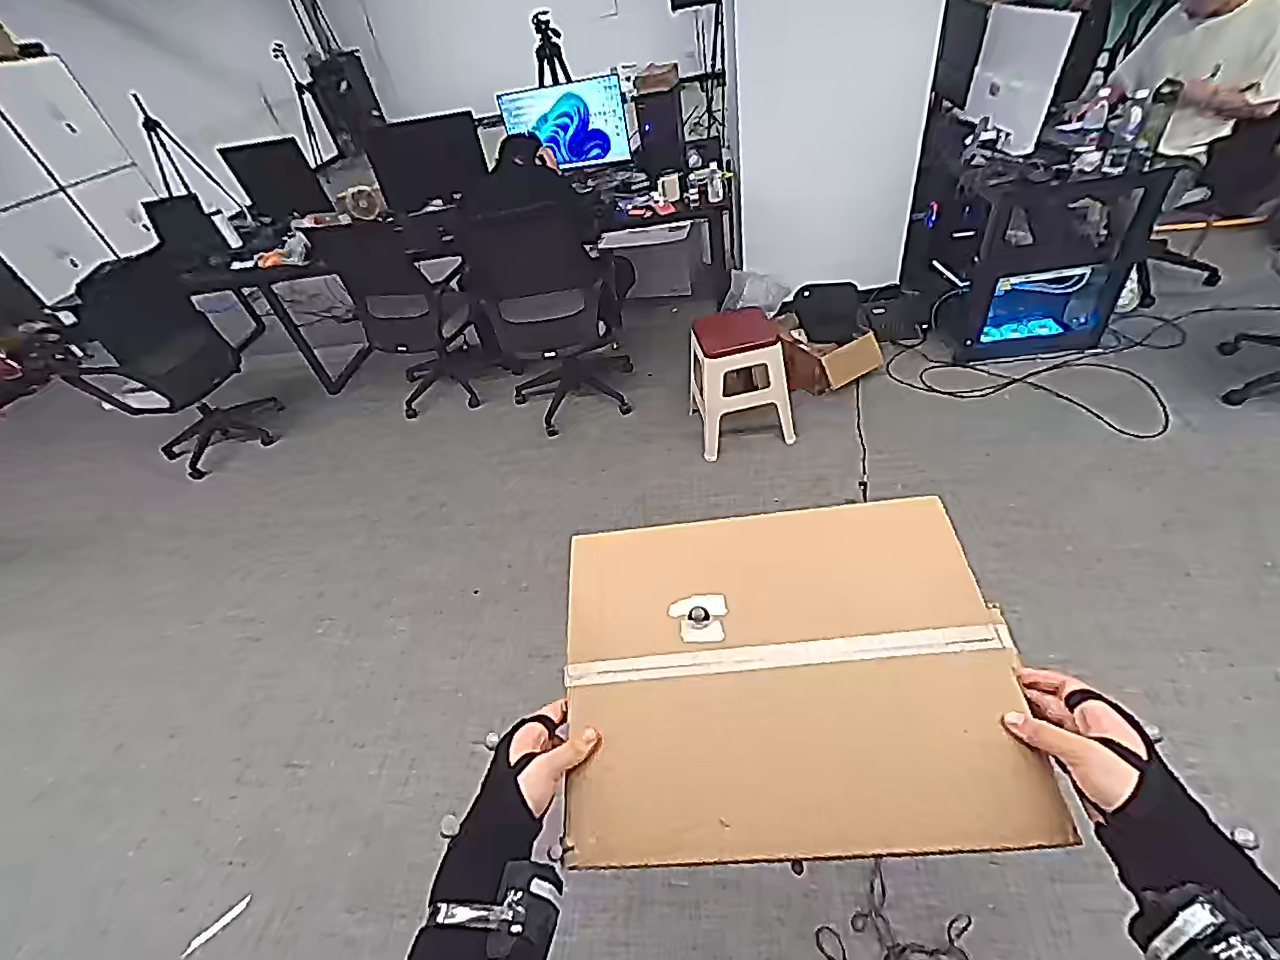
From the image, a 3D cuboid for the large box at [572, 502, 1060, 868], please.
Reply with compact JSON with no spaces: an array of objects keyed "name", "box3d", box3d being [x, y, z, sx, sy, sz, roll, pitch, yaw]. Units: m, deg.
[{"name":"large box","box3d":[0.156,0.259,0.648,0.408,0.320,0.320,-8,54,7]}]
